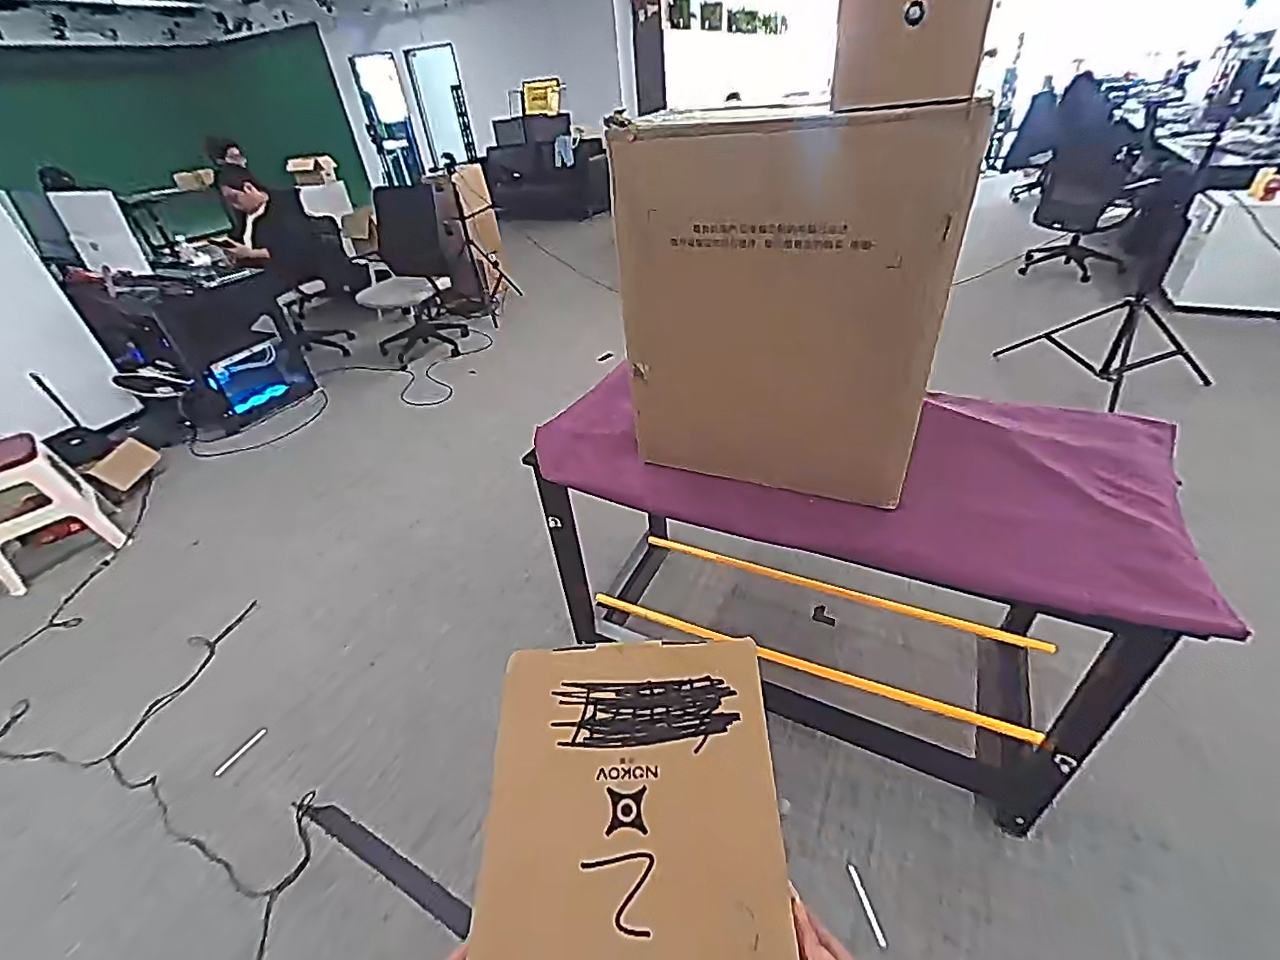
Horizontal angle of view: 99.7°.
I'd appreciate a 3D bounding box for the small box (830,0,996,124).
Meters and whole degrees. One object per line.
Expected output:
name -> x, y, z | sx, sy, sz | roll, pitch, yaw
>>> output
small box -> 0.347, -0.564, 0.681 | 0.168, 0.176, 0.179 | 14, 41, 26
